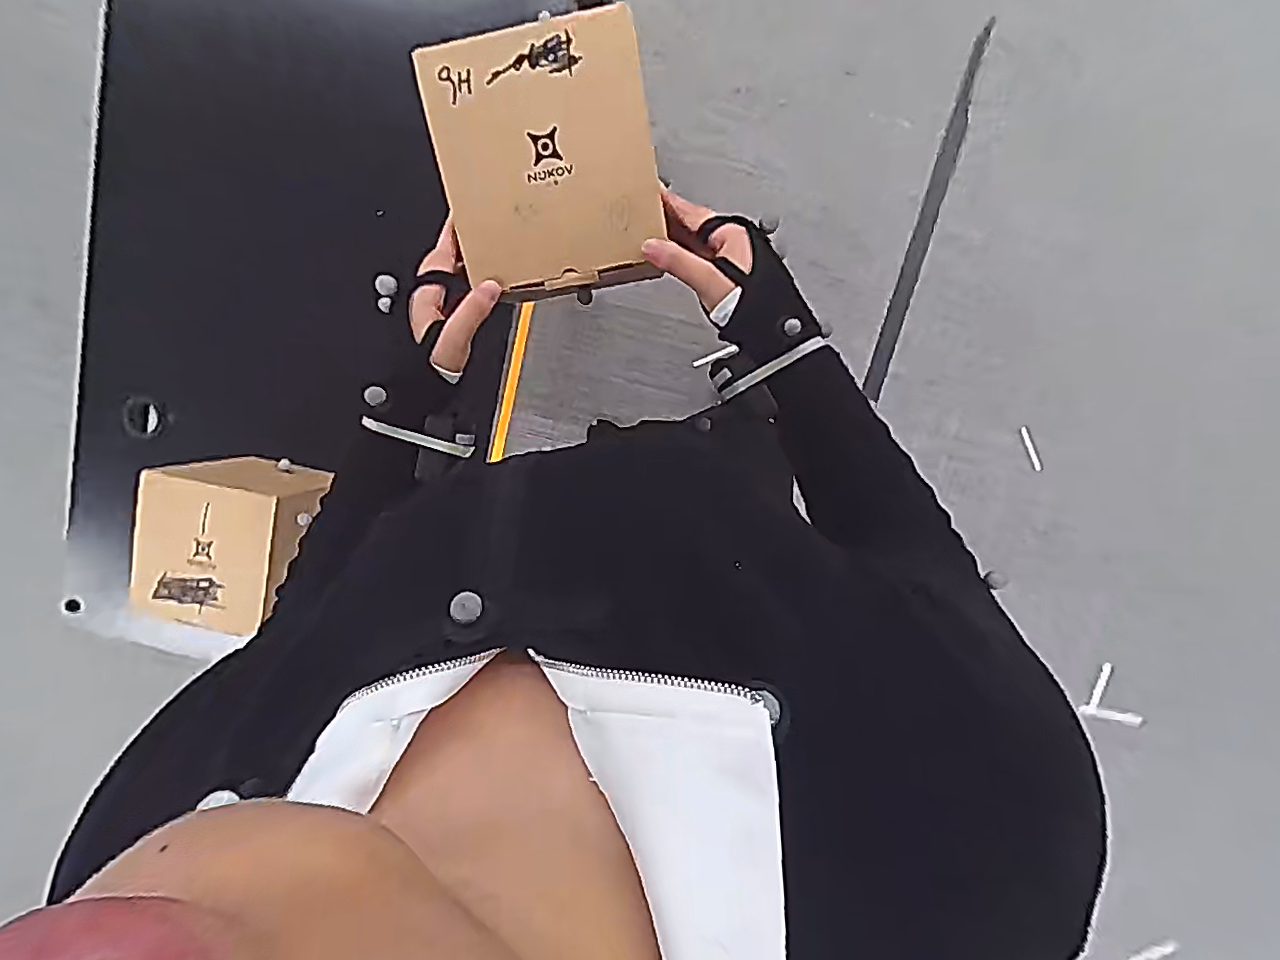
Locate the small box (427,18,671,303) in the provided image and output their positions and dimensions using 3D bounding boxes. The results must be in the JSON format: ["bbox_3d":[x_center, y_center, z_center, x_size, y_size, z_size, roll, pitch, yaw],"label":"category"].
[{"bbox_3d":[-0.063,-0.267,0.498,0.168,0.176,0.179,-9,107,4],"label":"small box"}]

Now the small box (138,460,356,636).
[{"bbox_3d":[-0.508,0.078,0.721,0.168,0.176,0.179,12,97,2],"label":"small box"}]
